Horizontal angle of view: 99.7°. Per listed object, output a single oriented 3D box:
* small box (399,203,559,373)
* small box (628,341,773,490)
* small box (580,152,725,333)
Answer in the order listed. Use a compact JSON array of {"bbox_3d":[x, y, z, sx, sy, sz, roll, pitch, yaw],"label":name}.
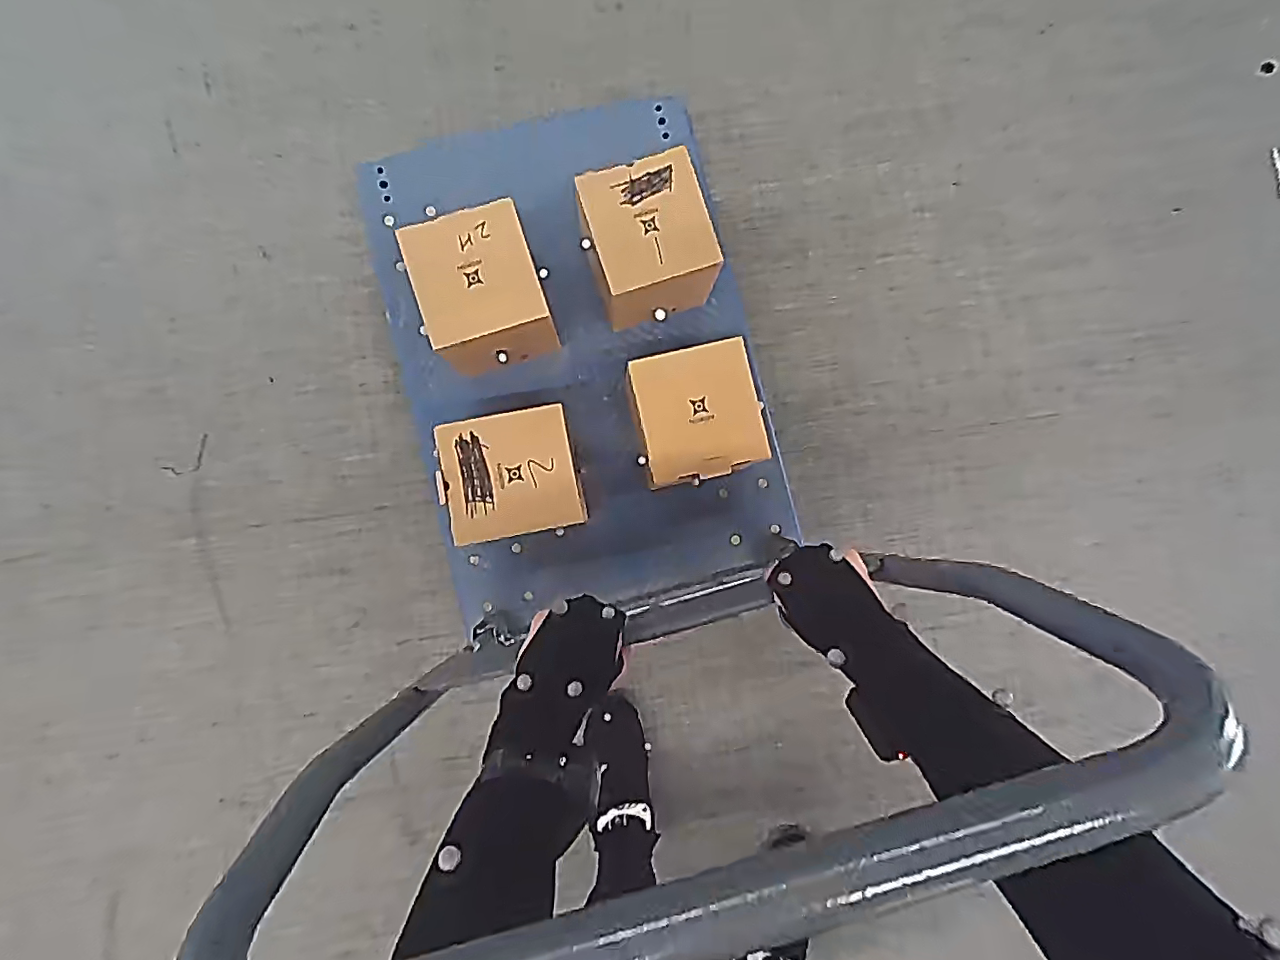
[{"bbox_3d":[-0.227,-0.271,0.810,0.168,0.176,0.179,-18,88,-4],"label":"small box"},{"bbox_3d":[0.080,-0.087,0.817,0.168,0.176,0.179,-13,89,-3],"label":"small box"},{"bbox_3d":[0.013,-0.349,0.824,0.168,0.176,0.179,-18,89,-2],"label":"small box"}]
